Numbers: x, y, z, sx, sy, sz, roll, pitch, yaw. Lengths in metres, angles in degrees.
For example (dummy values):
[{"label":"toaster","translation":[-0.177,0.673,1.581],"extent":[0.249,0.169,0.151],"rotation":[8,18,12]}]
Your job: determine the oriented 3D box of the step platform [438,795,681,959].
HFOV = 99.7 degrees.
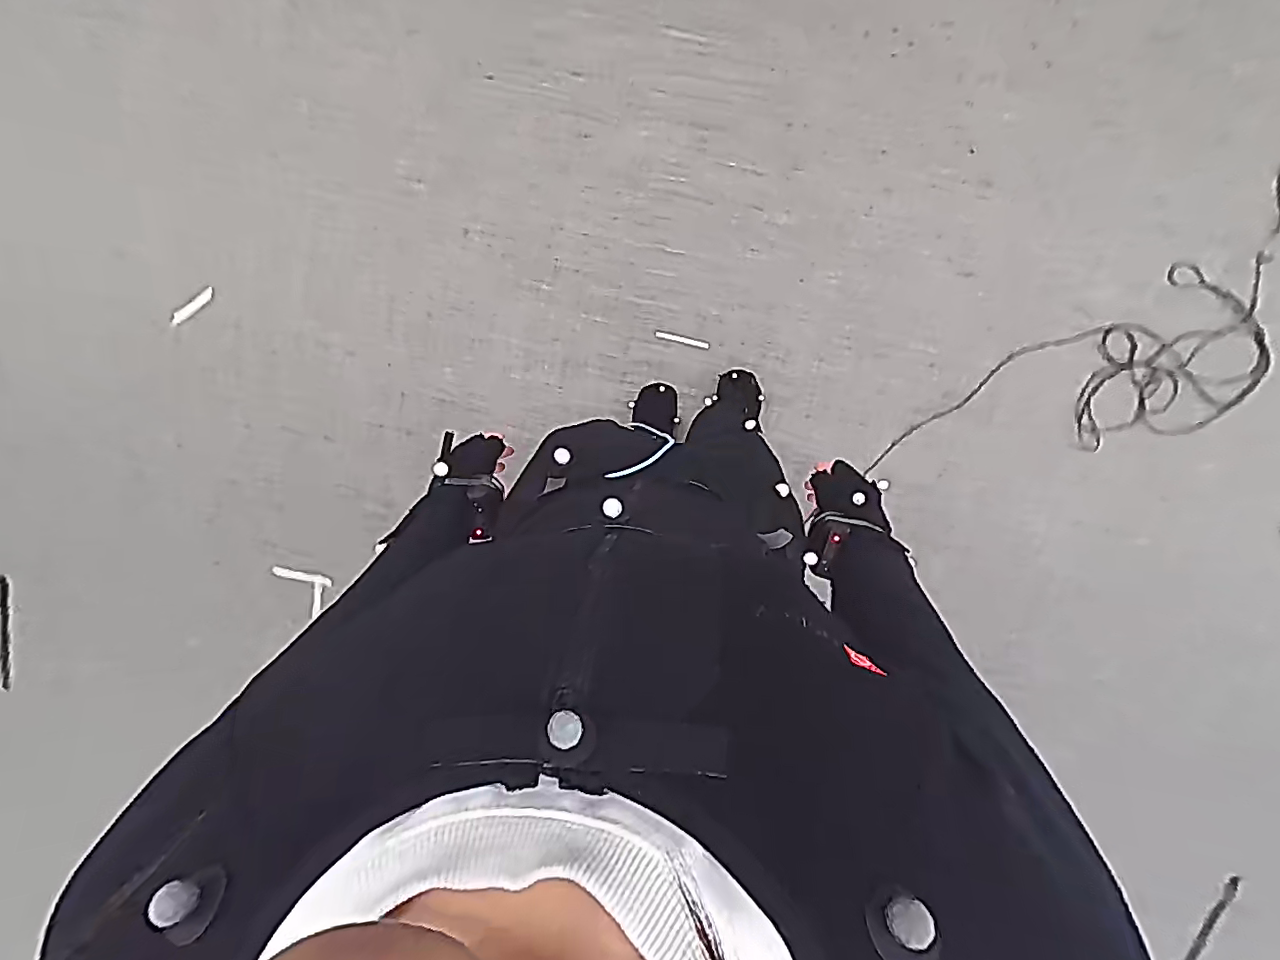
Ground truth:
[{"label":"step platform","translation":[-0.228,1.173,1.574],"extent":[0.684,0.204,0.286],"rotation":[12,100,3]}]
